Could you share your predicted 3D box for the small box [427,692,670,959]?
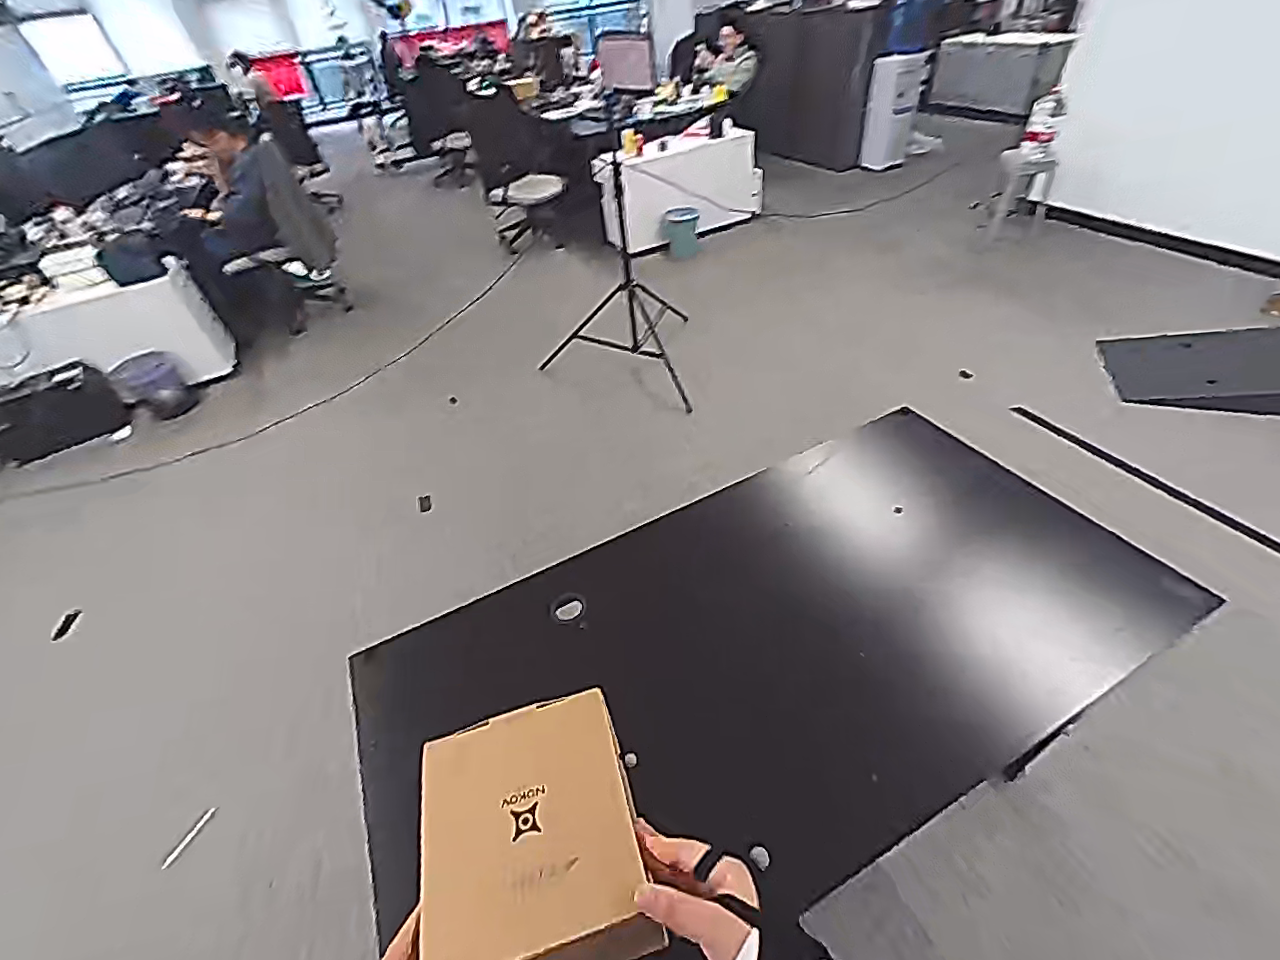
[{"bbox_3d":[-0.077,0.329,0.483,0.168,0.176,0.179,-15,43,-8],"label":"small box"}]
